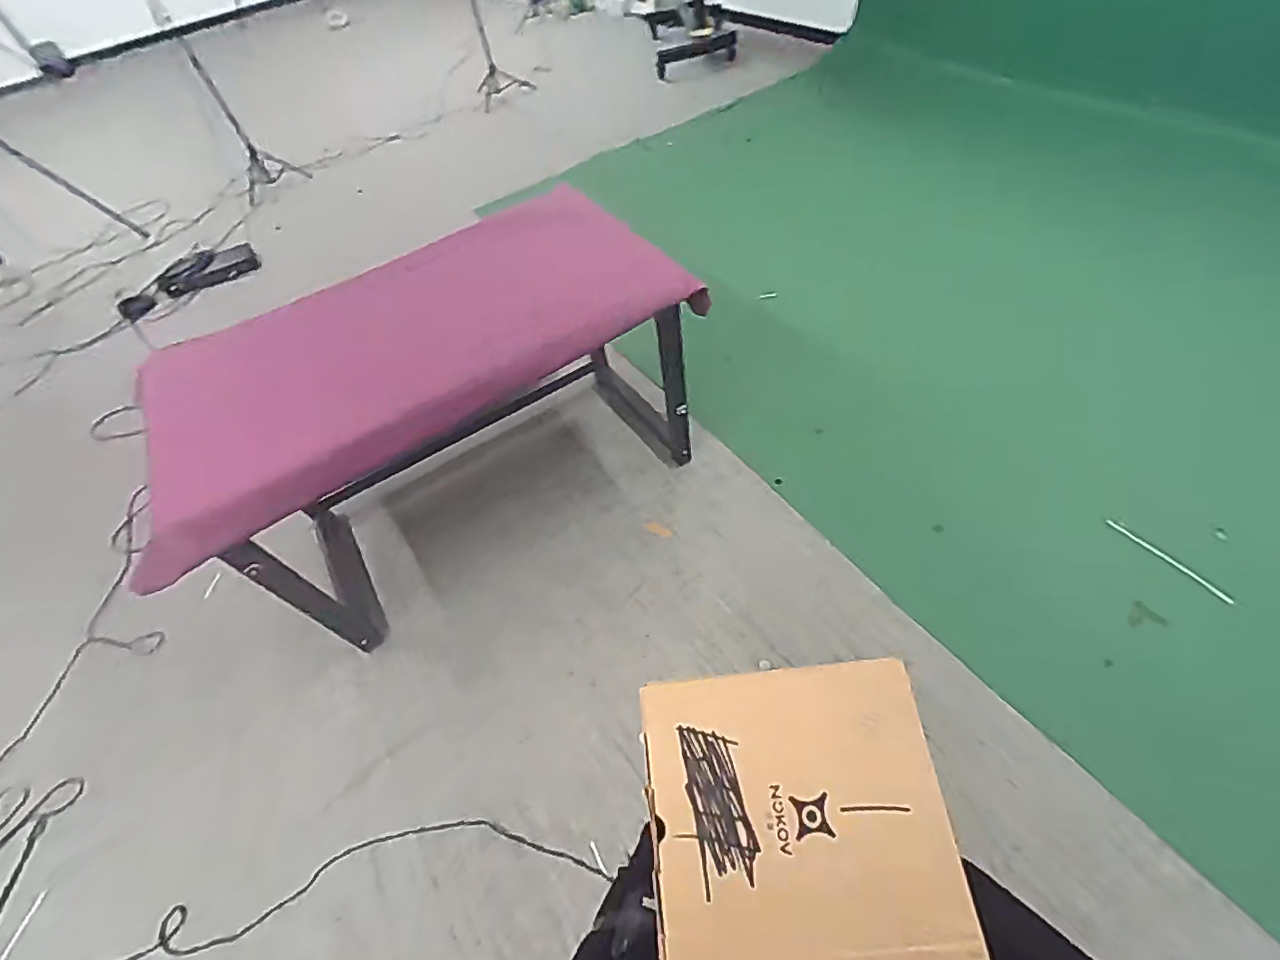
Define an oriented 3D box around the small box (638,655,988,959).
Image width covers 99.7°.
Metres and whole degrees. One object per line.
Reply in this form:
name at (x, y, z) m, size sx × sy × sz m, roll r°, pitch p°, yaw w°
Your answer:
small box at (0.097, 0.232, 0.392) m, size 0.179 × 0.176 × 0.168 m, roll -6°, pitch 64°, yaw 1°
